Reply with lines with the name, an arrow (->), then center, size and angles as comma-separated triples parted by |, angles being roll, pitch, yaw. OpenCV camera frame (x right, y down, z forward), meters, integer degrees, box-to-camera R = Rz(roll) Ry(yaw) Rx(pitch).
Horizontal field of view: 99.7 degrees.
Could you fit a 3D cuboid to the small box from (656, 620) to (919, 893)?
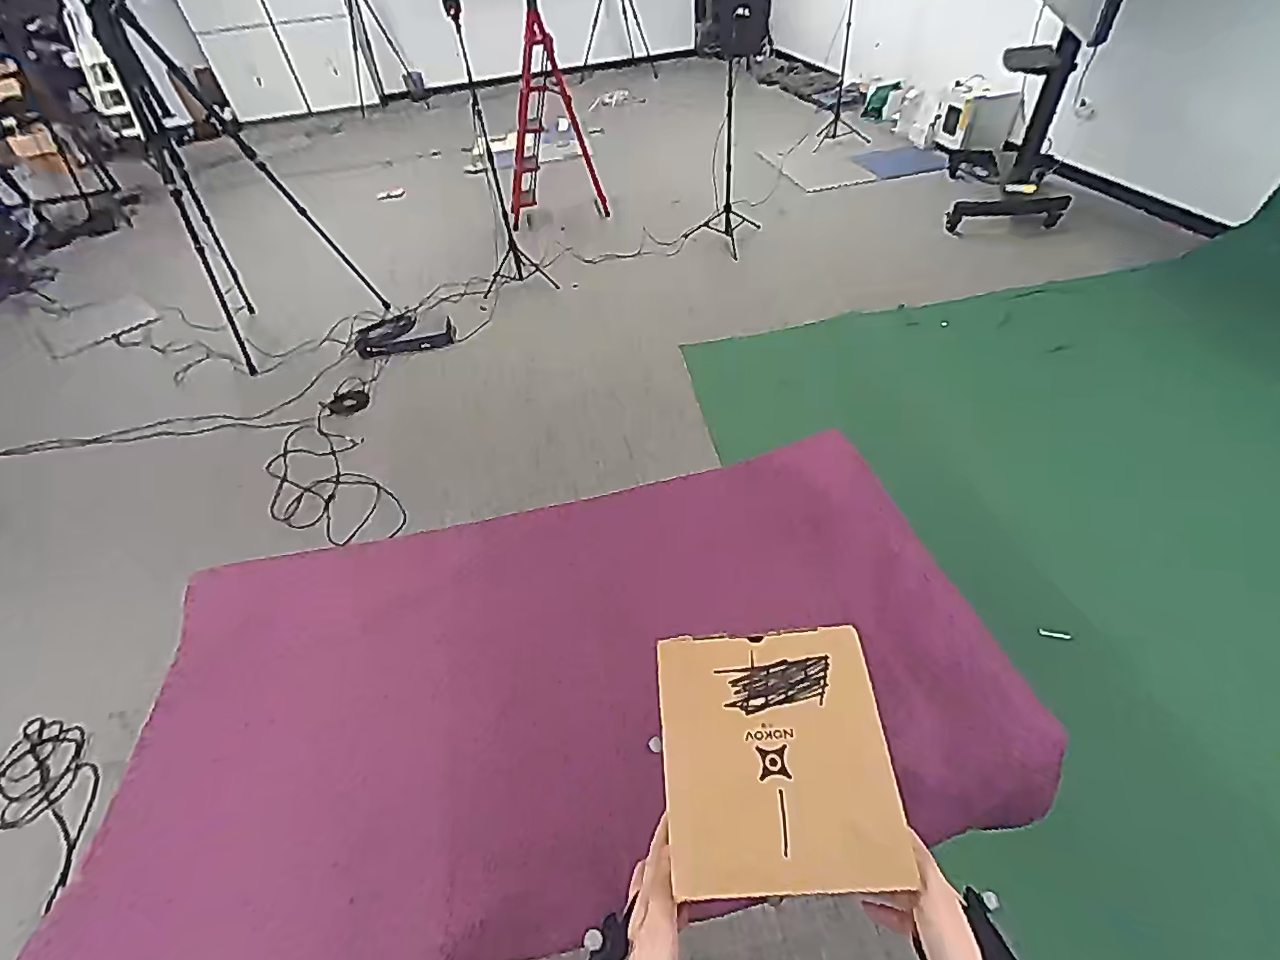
small box -> 0.104, 0.235, 0.463 | 0.168, 0.176, 0.179 | -6, 58, 5
